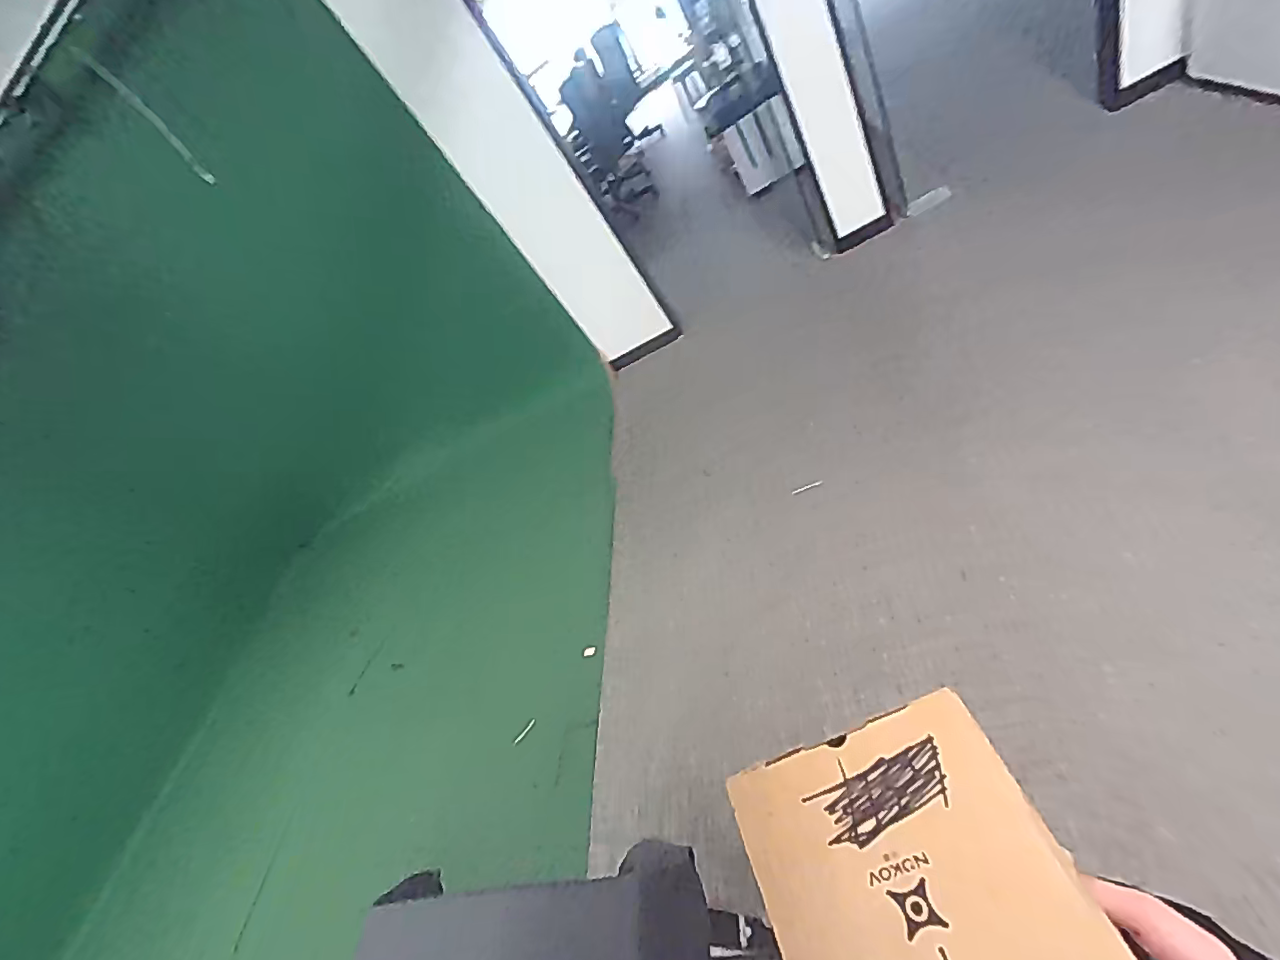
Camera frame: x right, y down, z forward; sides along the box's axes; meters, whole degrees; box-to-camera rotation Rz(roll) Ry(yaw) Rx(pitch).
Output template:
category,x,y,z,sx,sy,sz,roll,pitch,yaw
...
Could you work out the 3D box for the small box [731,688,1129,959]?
category,x,y,z,sx,sy,sz,roll,pitch,yaw
small box,0.183,0.276,0.368,0.168,0.176,0.179,-26,47,8
